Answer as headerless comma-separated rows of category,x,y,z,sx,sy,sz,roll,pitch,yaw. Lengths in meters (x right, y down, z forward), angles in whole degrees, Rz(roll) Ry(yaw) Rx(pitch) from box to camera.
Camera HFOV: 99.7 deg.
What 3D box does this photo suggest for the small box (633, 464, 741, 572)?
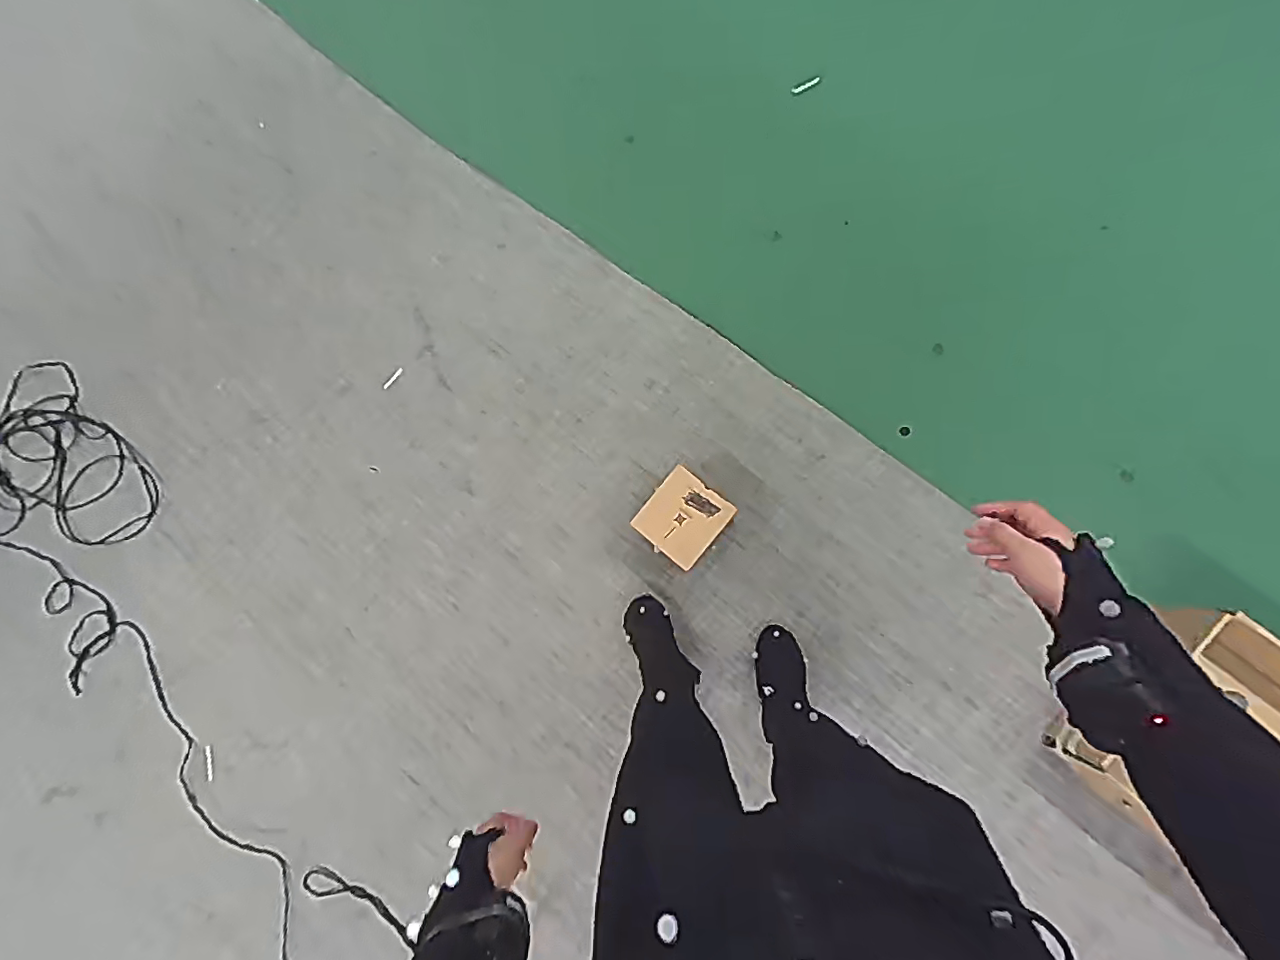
small box,0.106,0.088,1.231,0.168,0.176,0.179,40,90,10
